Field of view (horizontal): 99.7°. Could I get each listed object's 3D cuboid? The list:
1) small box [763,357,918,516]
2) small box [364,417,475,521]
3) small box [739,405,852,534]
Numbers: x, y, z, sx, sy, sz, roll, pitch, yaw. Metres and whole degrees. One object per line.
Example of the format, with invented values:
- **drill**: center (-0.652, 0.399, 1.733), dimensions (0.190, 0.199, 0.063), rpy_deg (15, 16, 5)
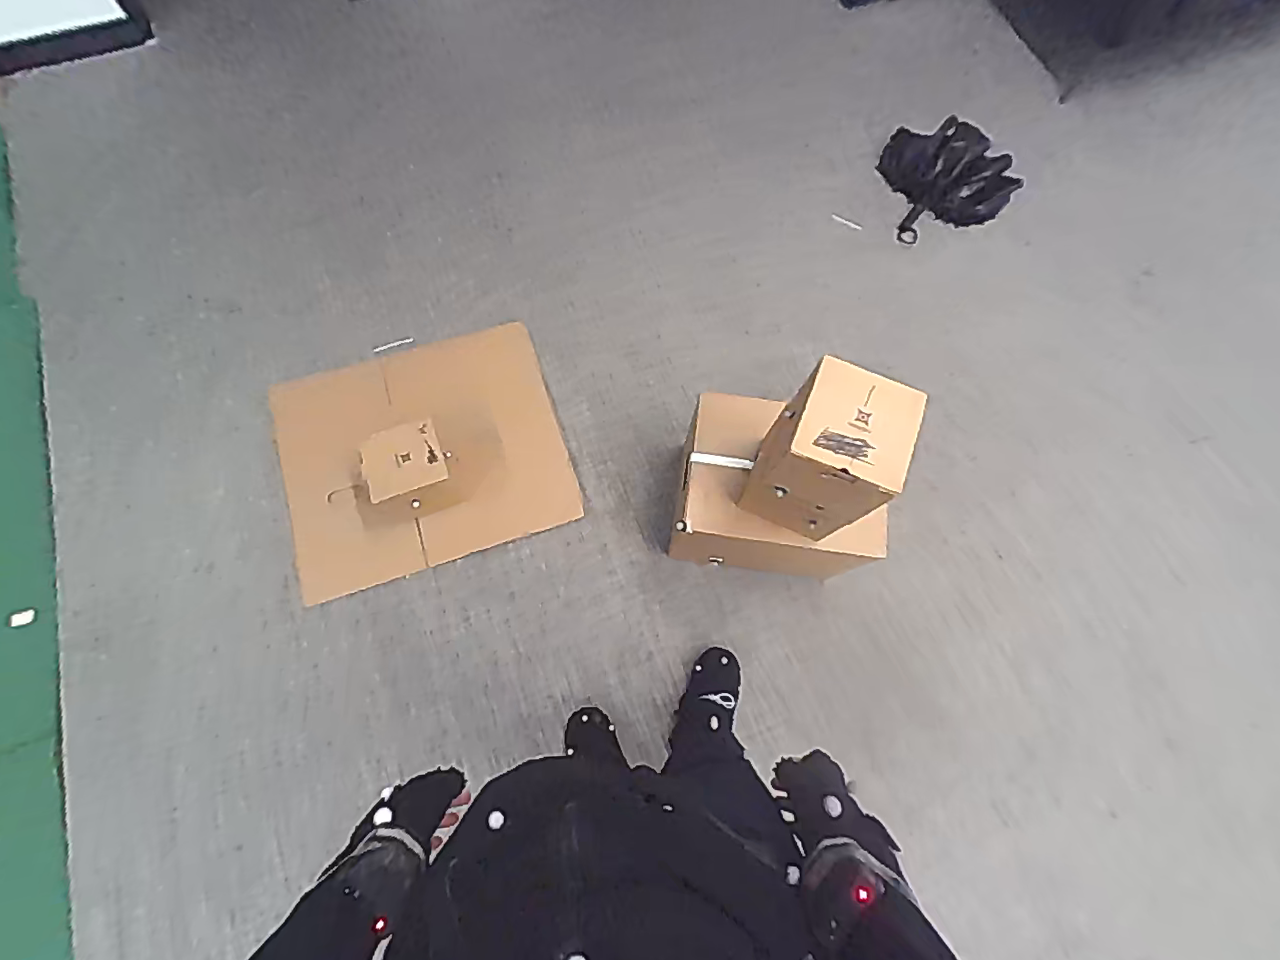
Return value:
- **small box**: center (0.308, -0.059, 0.864), dimensions (0.168, 0.176, 0.179), rpy_deg (20, 73, 4)
- **small box**: center (-0.526, -0.019, 1.306), dimensions (0.179, 0.176, 0.168), rpy_deg (-23, 72, -8)
- **small box**: center (0.306, -0.011, 1.021), dimensions (0.179, 0.176, 0.168), rpy_deg (22, 72, 7)
